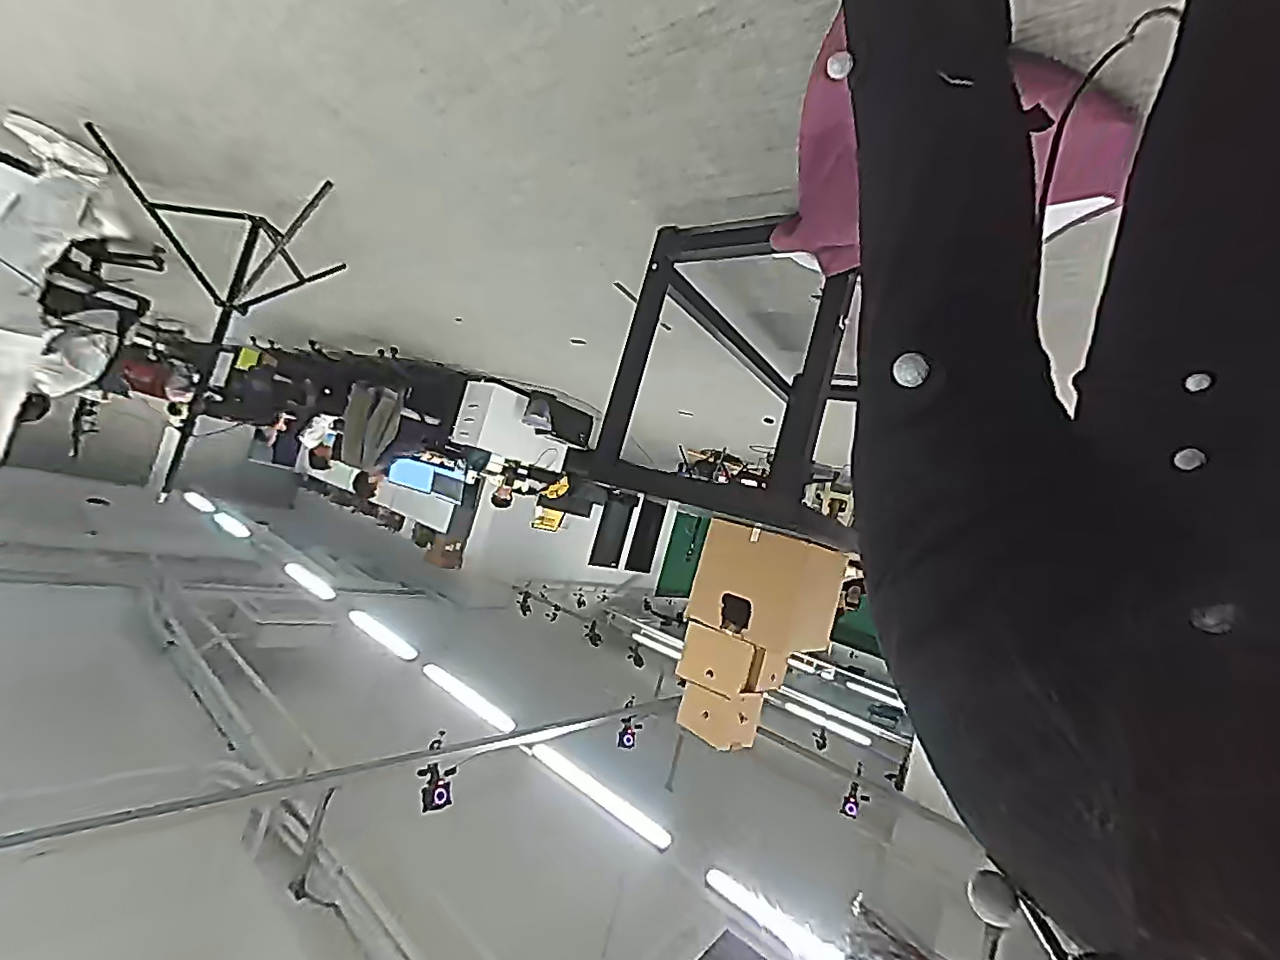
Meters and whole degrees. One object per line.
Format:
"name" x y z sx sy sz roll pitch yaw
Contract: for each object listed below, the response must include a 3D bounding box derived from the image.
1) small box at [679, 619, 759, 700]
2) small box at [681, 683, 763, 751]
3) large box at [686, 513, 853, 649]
"small box" 0.238 0.511 1.577 0.179 0.176 0.168 15 177 27
"small box" 0.254 0.688 1.633 0.168 0.176 0.179 18 175 -39
"large box" 0.408 0.309 1.649 0.320 0.320 0.408 12 174 39
